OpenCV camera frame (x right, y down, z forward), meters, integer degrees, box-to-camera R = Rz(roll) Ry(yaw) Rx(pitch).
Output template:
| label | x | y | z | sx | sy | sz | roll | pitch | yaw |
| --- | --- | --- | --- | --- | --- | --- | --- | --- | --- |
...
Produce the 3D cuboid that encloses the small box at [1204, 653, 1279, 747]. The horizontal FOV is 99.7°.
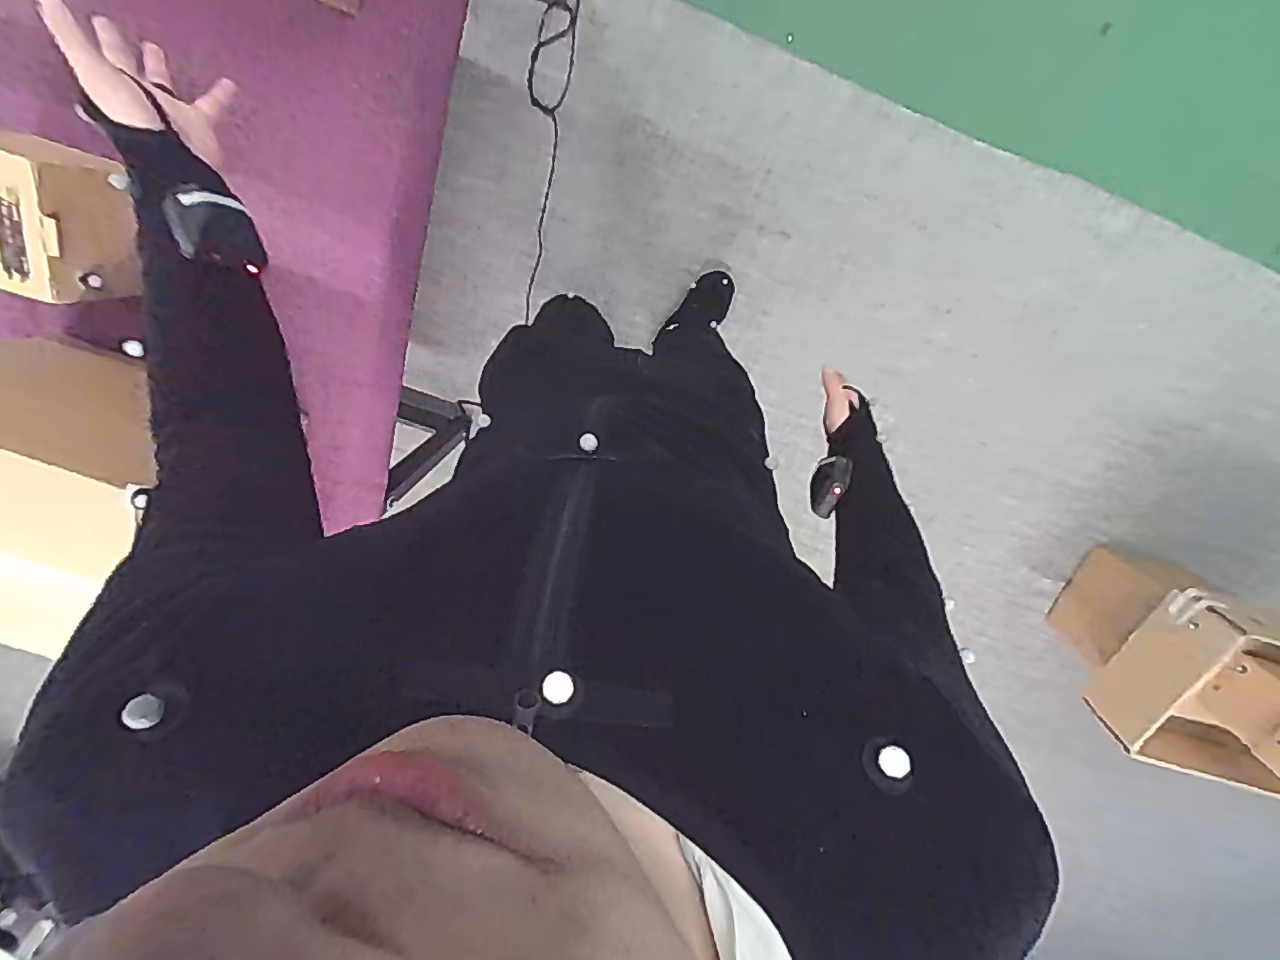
| label | x | y | z | sx | sy | sz | roll | pitch | yaw |
| --- | --- | --- | --- | --- | --- | --- | --- | --- | --- |
| small box | 1.537 | 0.540 | 1.289 | 0.179 | 0.176 | 0.168 | 17 | 113 | -6 |
